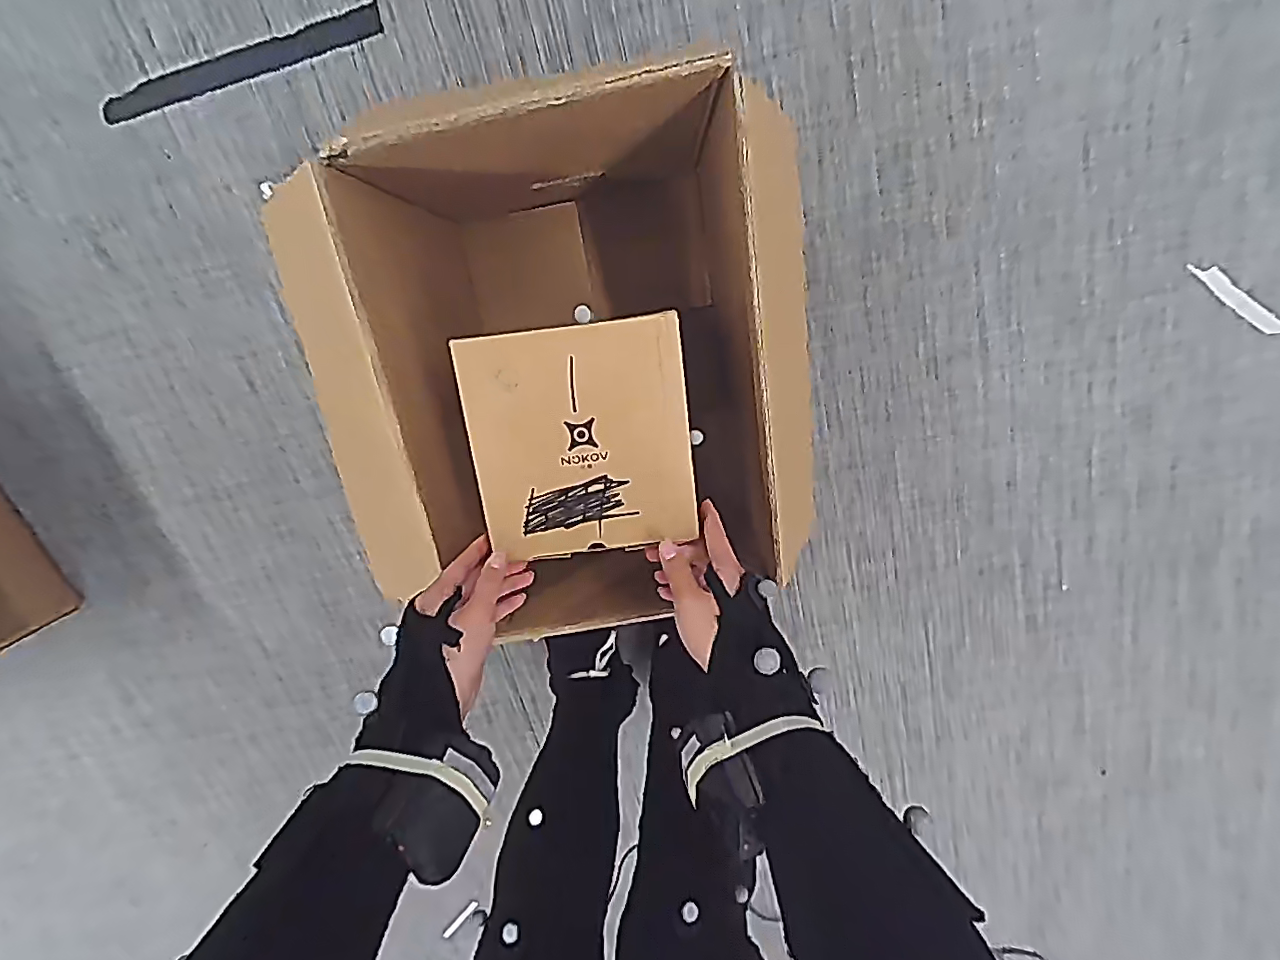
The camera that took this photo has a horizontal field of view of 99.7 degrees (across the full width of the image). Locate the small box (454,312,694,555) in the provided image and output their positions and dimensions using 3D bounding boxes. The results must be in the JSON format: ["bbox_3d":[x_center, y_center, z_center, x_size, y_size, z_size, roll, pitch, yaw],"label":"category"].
[{"bbox_3d":[-0.046,-0.052,0.487,0.168,0.176,0.179,-7,105,0],"label":"small box"}]
